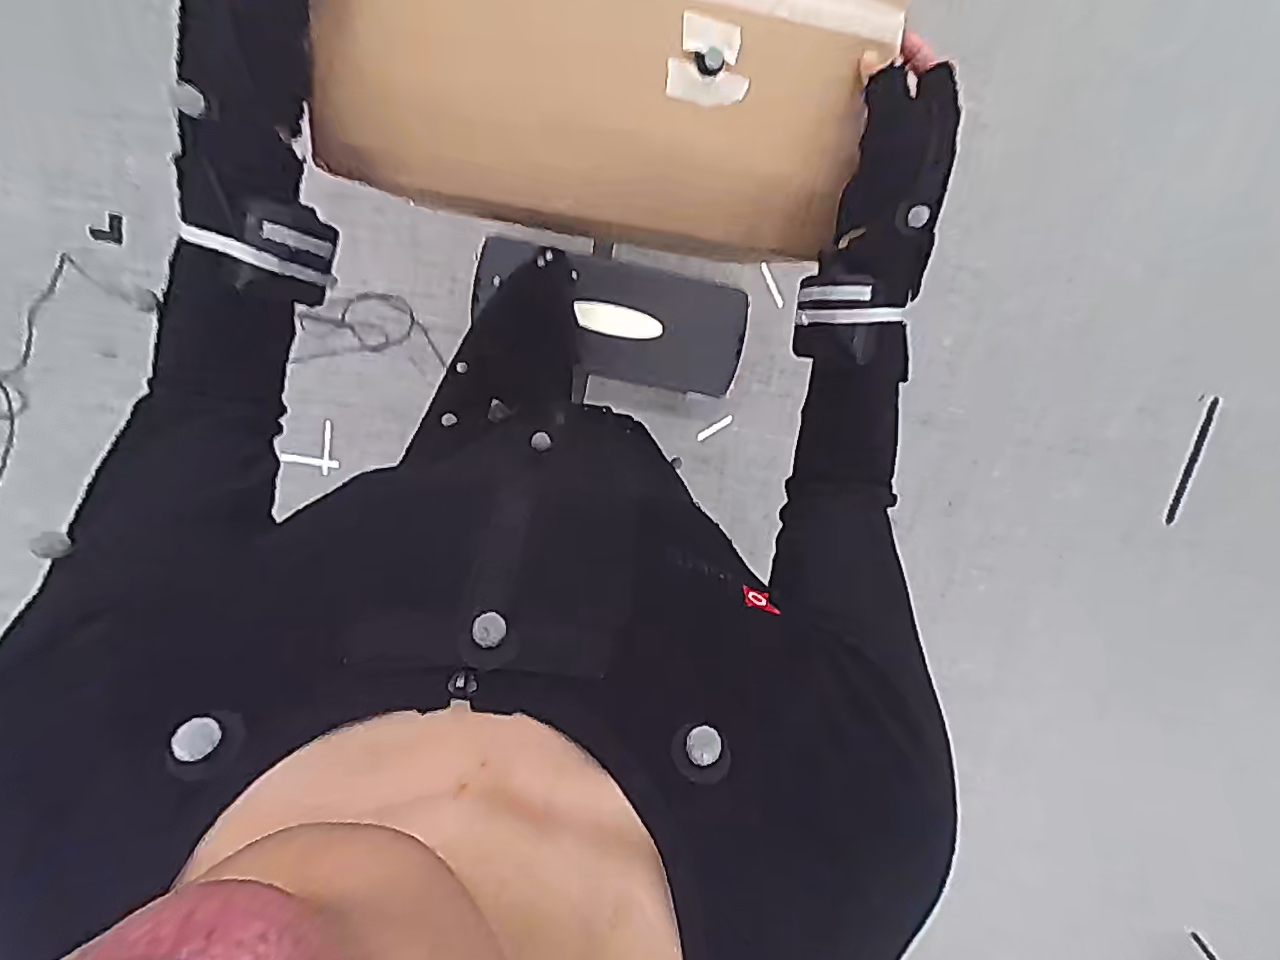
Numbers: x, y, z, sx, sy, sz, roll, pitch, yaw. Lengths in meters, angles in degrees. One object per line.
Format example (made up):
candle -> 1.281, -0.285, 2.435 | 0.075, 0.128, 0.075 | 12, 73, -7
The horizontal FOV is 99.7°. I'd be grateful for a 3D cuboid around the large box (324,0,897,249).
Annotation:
large box -> -0.026, -0.412, 0.507 | 0.408, 0.320, 0.320 | 5, 112, -9
